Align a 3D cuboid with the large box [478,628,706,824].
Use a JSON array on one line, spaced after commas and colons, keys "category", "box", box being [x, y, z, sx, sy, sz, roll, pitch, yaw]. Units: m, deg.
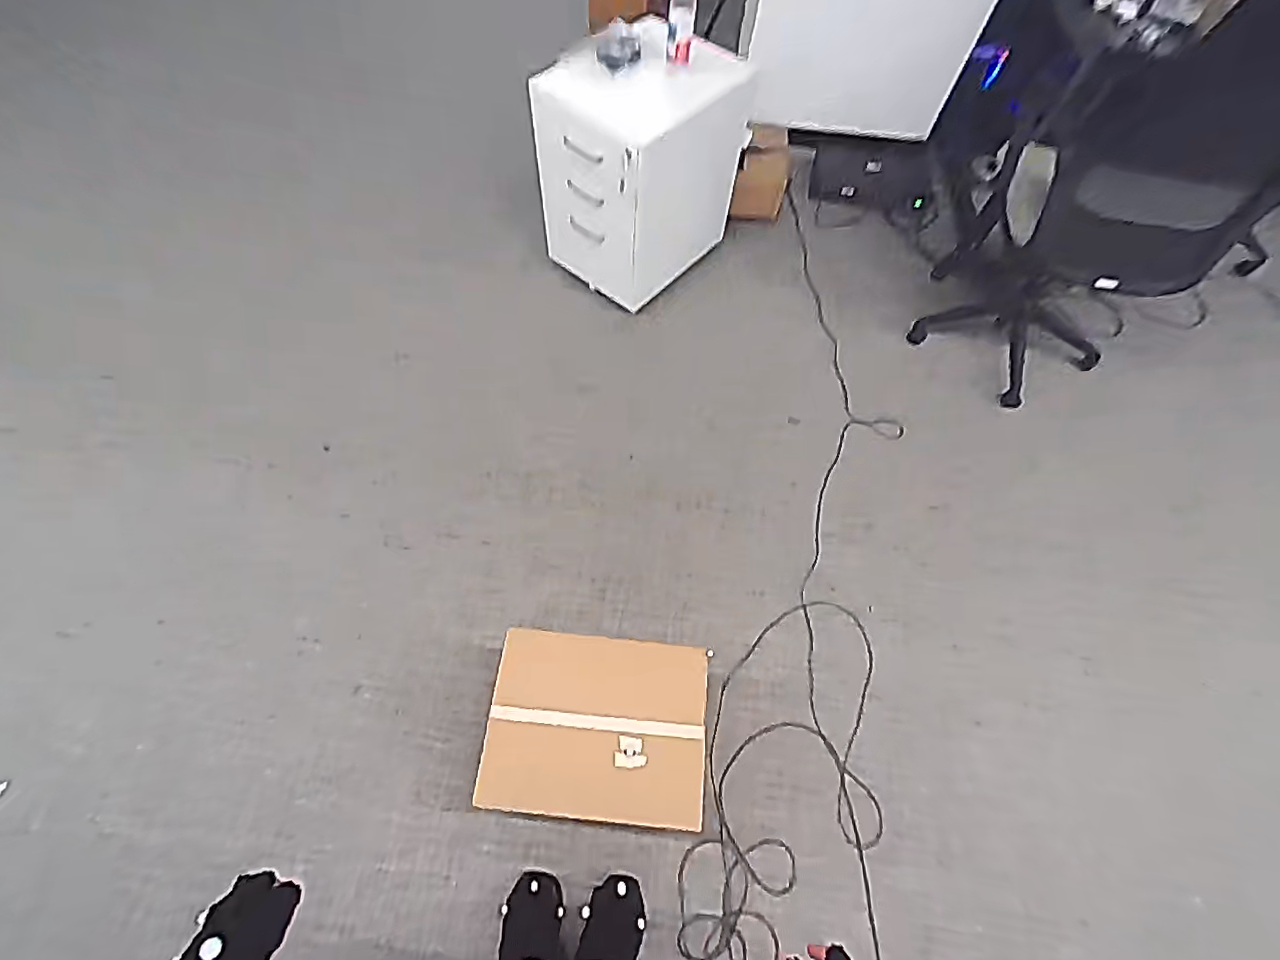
[{"category": "large box", "box": [-0.088, 0.523, 1.152, 0.408, 0.320, 0.320, 7, 63, -1]}]
